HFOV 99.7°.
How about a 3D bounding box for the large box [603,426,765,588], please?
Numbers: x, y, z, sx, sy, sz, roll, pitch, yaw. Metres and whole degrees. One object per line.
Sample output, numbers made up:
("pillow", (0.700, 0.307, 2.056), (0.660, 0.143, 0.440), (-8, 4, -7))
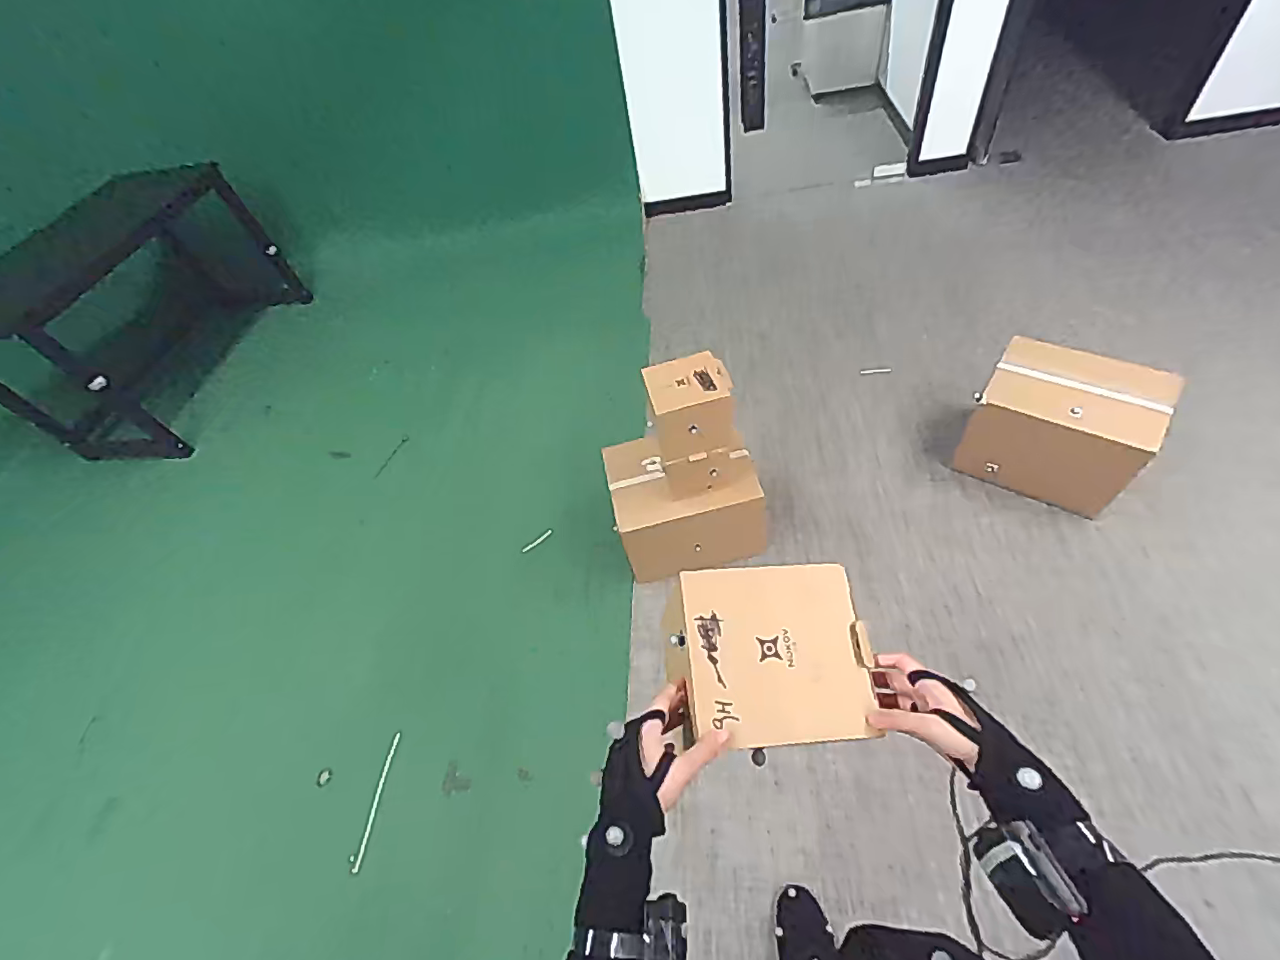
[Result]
("large box", (0.137, 0.082, 1.637), (0.408, 0.320, 0.320), (-15, 50, 1))

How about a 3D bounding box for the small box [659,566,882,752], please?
("small box", (0.122, 0.198, 0.586), (0.179, 0.176, 0.168), (-1, 62, -6))

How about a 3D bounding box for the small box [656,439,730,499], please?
("small box", (0.139, -0.067, 1.438), (0.168, 0.176, 0.179), (-14, 51, 1))

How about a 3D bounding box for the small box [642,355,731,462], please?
("small box", (0.115, -0.169, 1.312), (0.179, 0.176, 0.168), (-15, 51, 0))
